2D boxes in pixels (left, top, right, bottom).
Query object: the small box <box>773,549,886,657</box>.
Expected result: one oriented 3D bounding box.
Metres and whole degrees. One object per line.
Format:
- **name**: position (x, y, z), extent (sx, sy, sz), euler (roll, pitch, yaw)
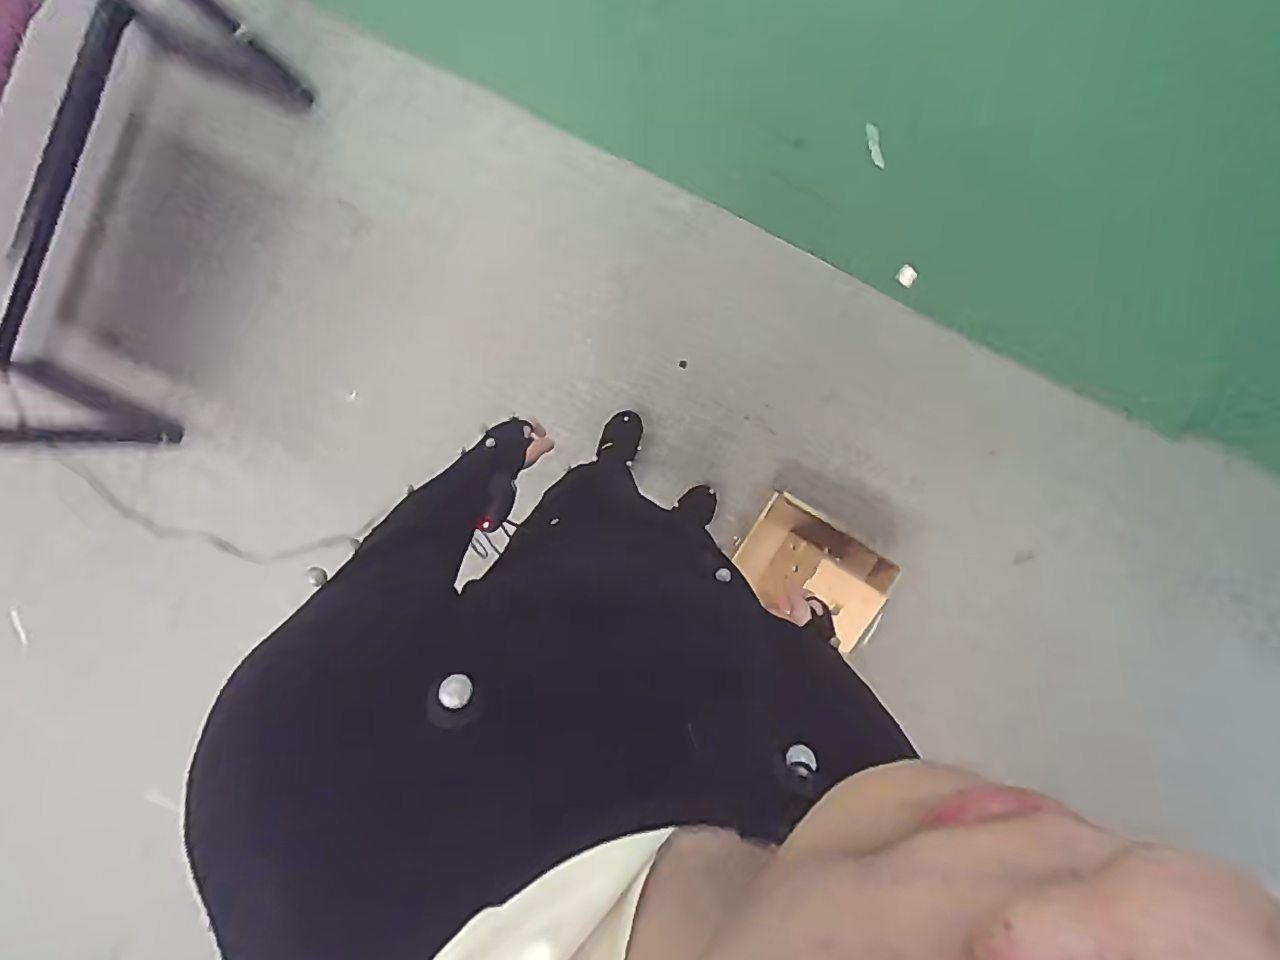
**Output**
- **small box**: position (0.450, 0.289, 1.316), extent (0.179, 0.176, 0.168), euler (33, 96, 0)
